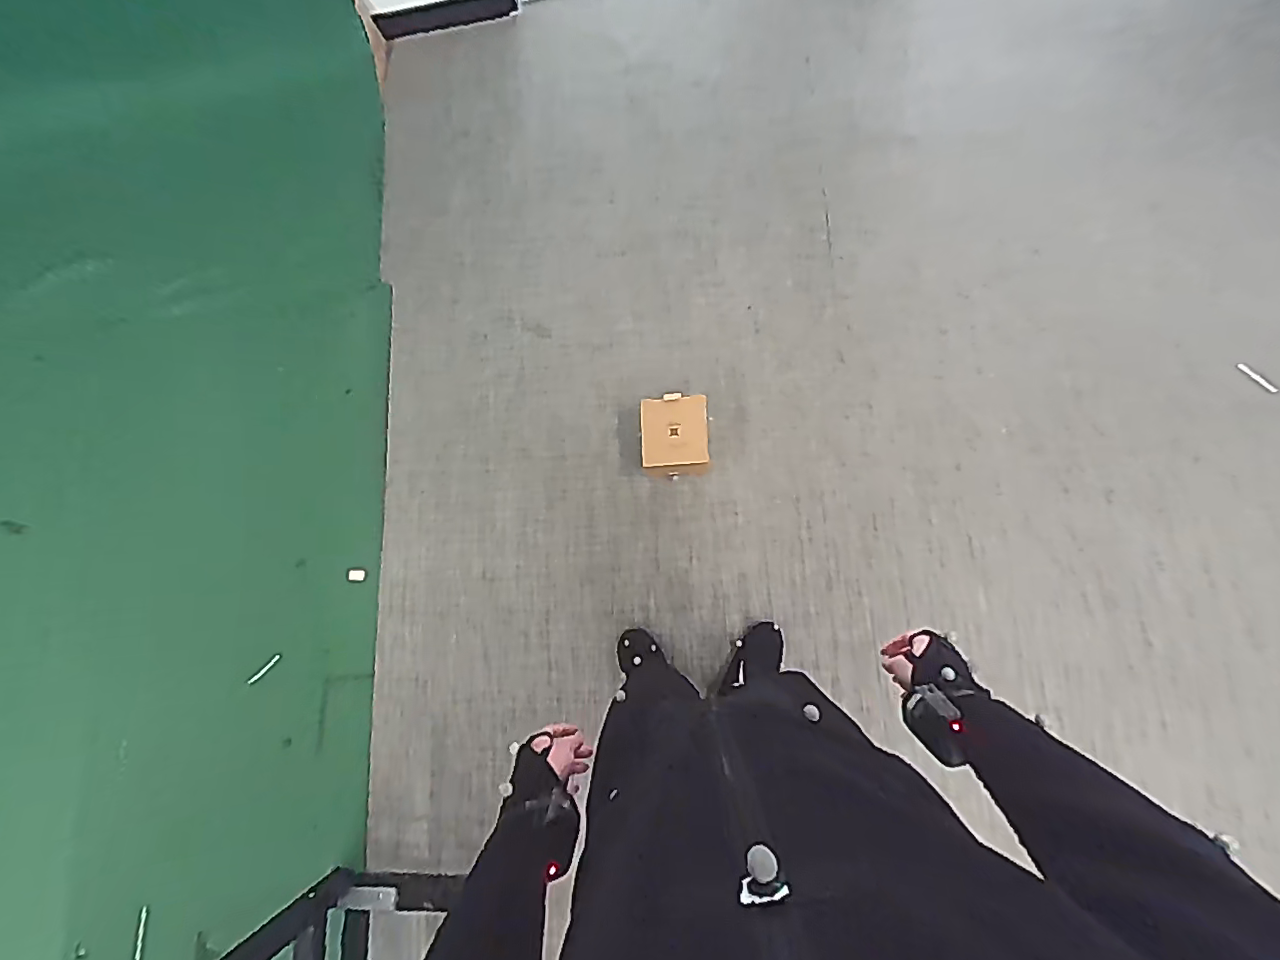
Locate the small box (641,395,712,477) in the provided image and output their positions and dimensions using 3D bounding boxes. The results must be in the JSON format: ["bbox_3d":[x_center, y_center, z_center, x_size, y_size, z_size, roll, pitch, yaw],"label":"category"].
[{"bbox_3d":[0.097,-0.109,1.397,0.168,0.176,0.179,-2,80,10],"label":"small box"}]
